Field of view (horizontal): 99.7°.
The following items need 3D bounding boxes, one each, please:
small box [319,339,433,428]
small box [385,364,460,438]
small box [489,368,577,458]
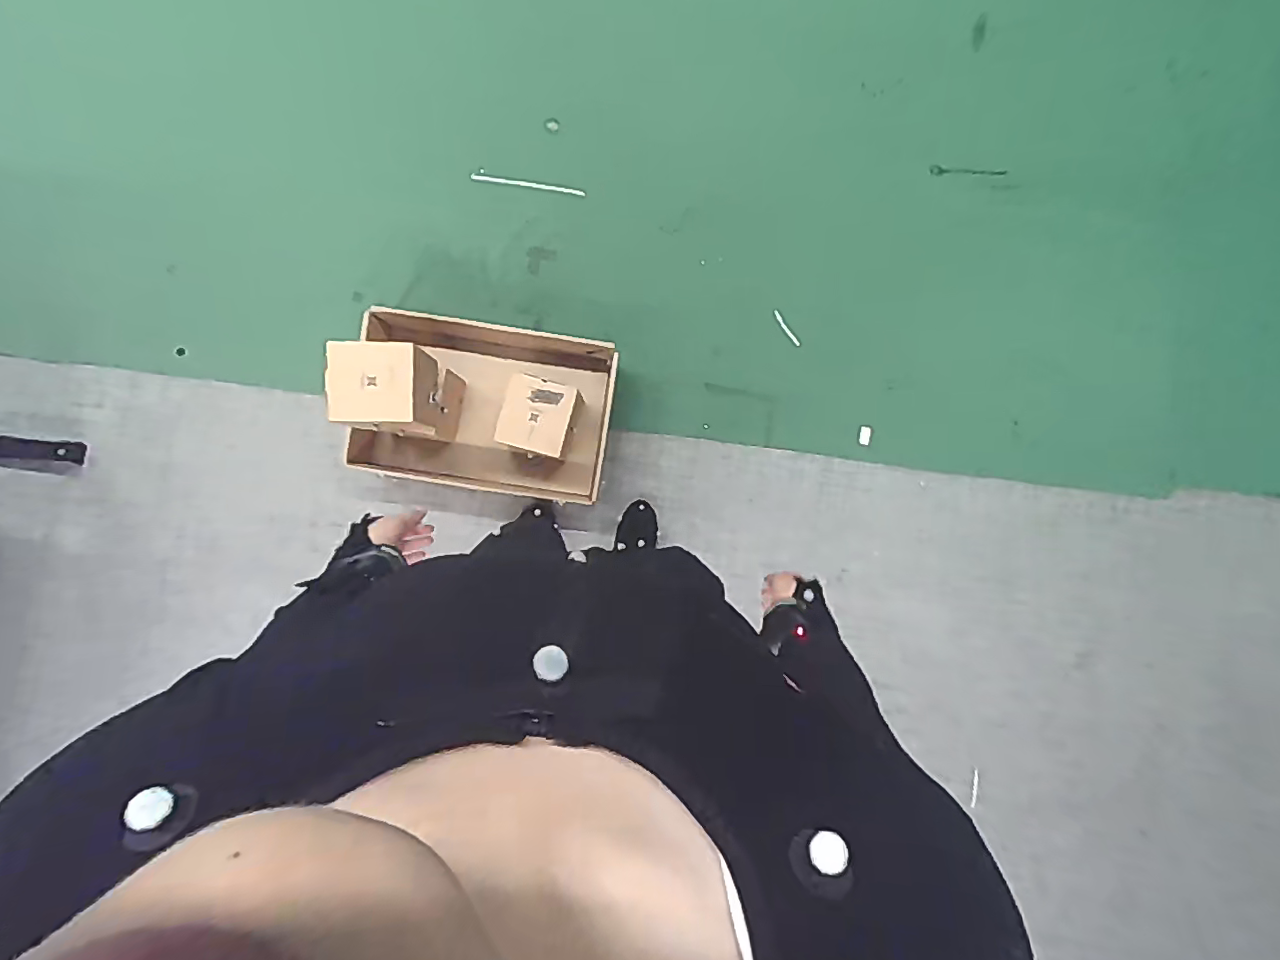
[{"bbox_3d":[-0.560,-0.201,1.167,0.179,0.176,0.168,-1,91,-5],"label":"small box"},{"bbox_3d":[-0.565,-0.200,1.331,0.179,0.176,0.168,10,90,-3],"label":"small box"},{"bbox_3d":[-0.258,-0.159,1.347,0.168,0.176,0.179,15,90,-2],"label":"small box"}]
